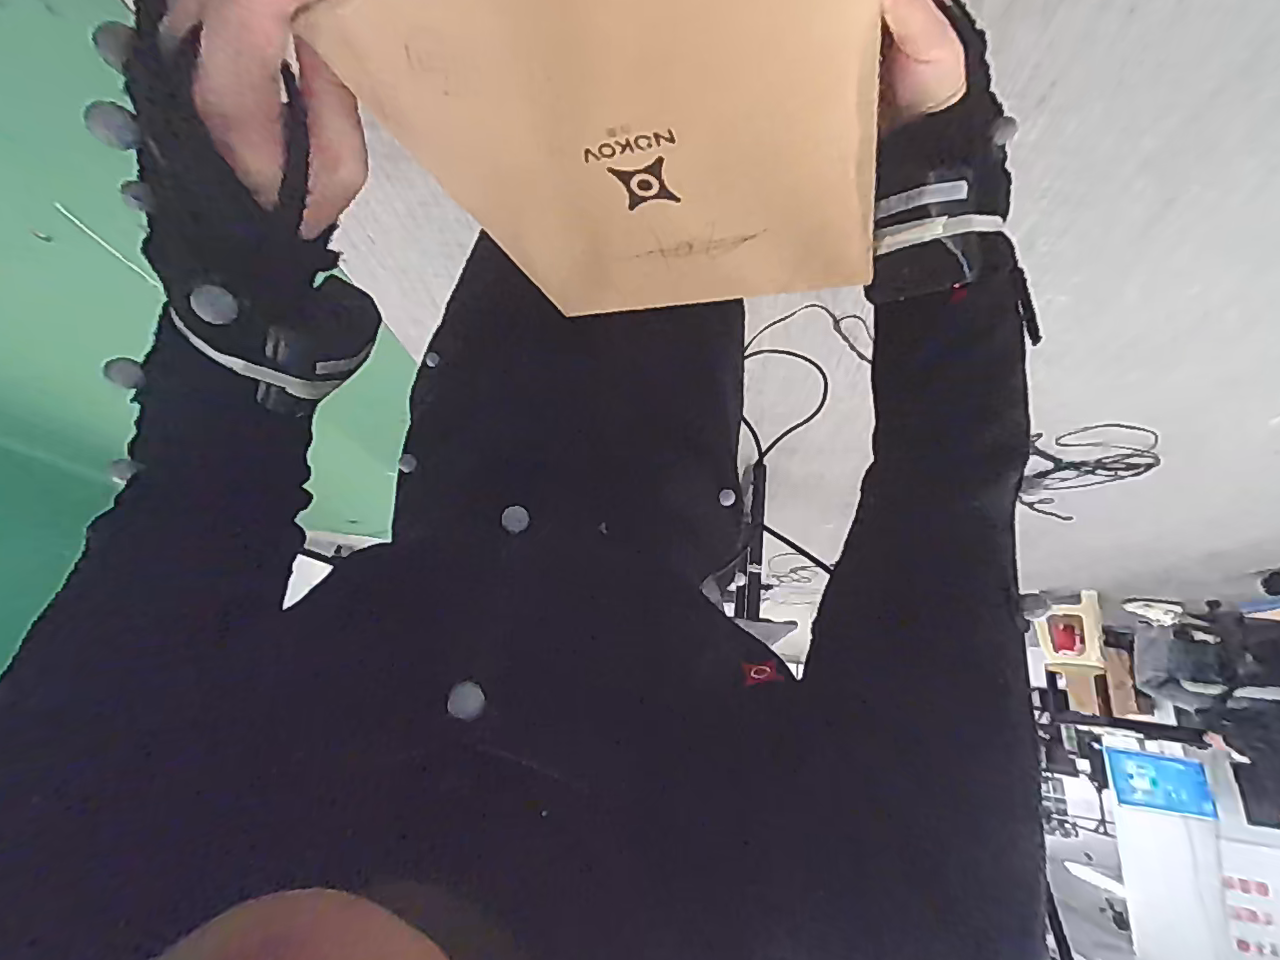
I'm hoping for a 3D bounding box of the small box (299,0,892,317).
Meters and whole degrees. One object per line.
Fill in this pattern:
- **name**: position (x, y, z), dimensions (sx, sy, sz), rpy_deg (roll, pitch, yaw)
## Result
- **small box**: position (0.013, -0.191, 0.221), dimensions (0.168, 0.176, 0.179), rpy_deg (3, 168, 23)
